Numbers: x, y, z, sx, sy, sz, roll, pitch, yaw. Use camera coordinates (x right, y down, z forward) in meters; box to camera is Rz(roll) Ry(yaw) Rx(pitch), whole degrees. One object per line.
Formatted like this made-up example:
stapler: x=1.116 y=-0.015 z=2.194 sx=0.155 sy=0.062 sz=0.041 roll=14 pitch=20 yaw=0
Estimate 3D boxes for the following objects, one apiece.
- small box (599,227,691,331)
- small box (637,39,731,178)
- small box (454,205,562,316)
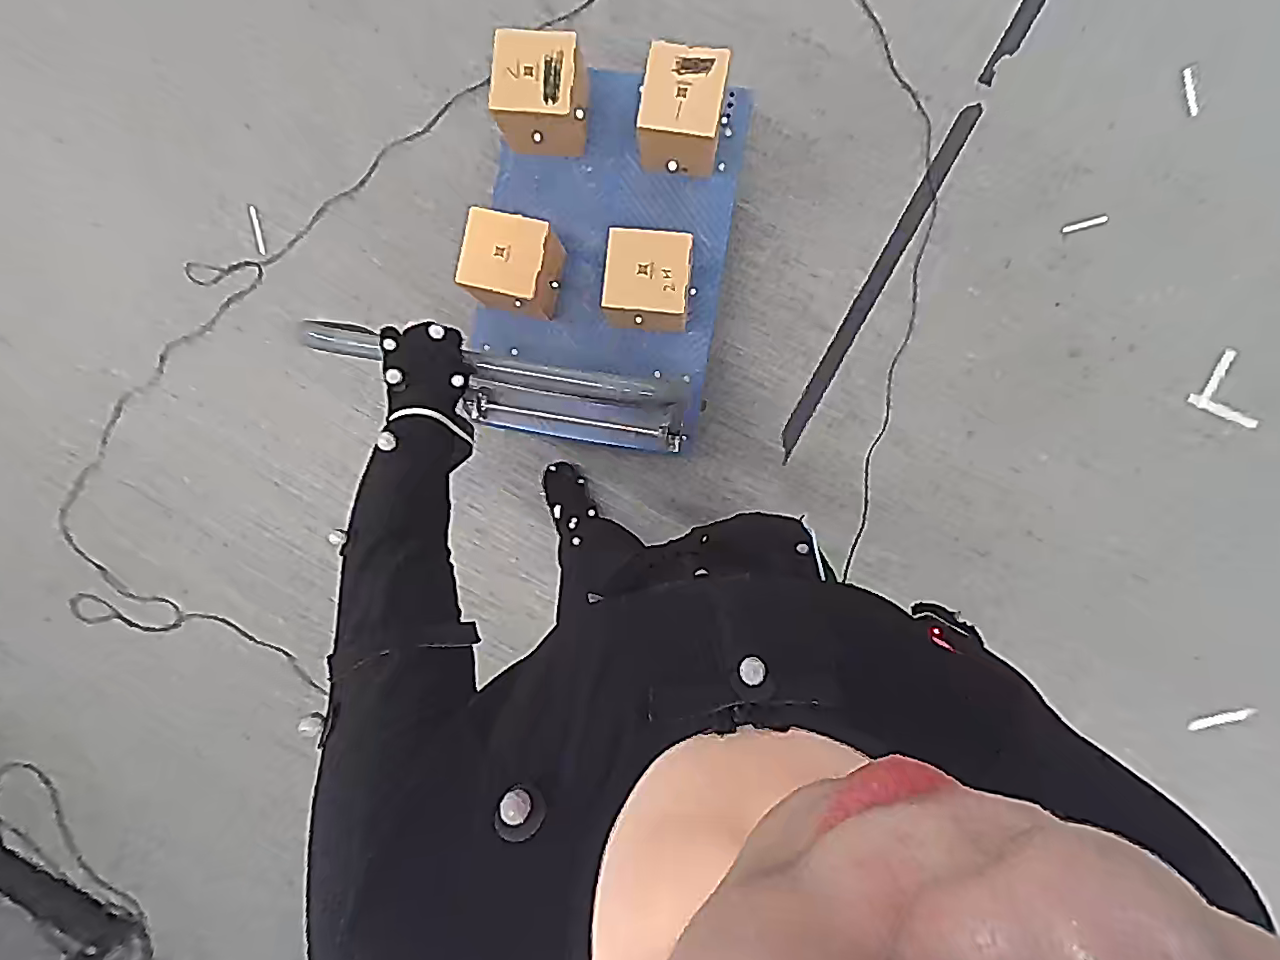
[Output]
small box: x=0.017 y=-0.437 z=1.197 sx=0.179 sy=0.176 sz=0.168 roll=7 pitch=93 yaw=4
small box: x=0.093 y=-0.799 z=1.177 sx=0.168 sy=0.176 sz=0.179 roll=11 pitch=94 yaw=4
small box: x=-0.289 y=-0.485 z=1.218 sx=0.179 sy=0.176 sz=0.168 roll=13 pitch=92 yaw=2
